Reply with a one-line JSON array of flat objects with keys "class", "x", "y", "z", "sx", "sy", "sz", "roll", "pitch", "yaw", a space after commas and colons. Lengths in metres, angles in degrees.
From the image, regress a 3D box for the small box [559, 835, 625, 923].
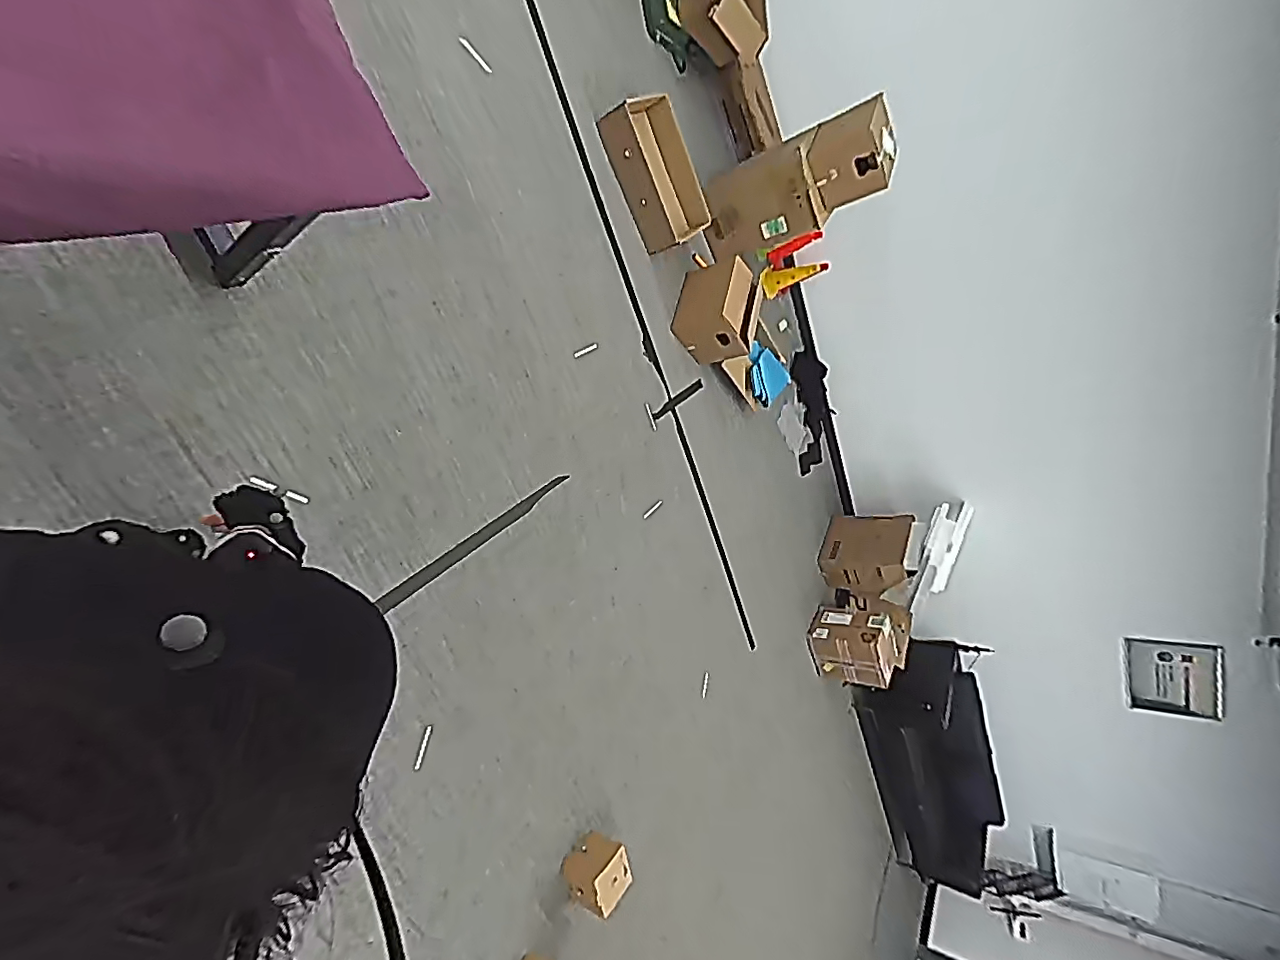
[{"class": "small box", "x": -0.186, "y": 1.482, "z": 2.020, "sx": 0.179, "sy": 0.176, "sz": 0.168, "roll": -23, "pitch": 105, "yaw": -50}]
